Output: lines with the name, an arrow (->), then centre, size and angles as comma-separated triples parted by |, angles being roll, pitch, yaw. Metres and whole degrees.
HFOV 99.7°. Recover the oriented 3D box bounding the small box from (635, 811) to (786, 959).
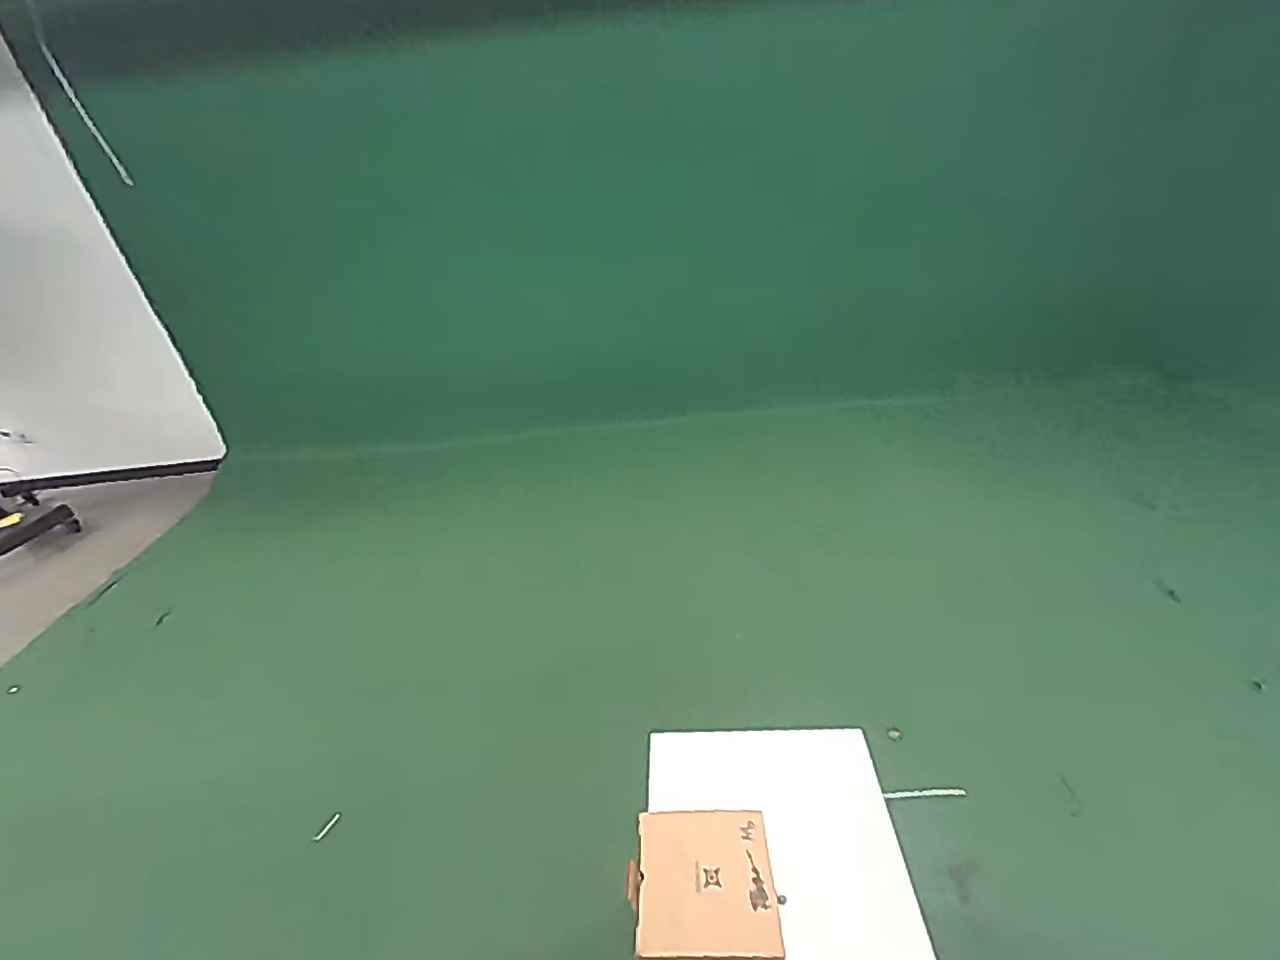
small box -> 0.092, 0.573, 0.722 | 0.179, 0.176, 0.168 | -4, 31, 4
